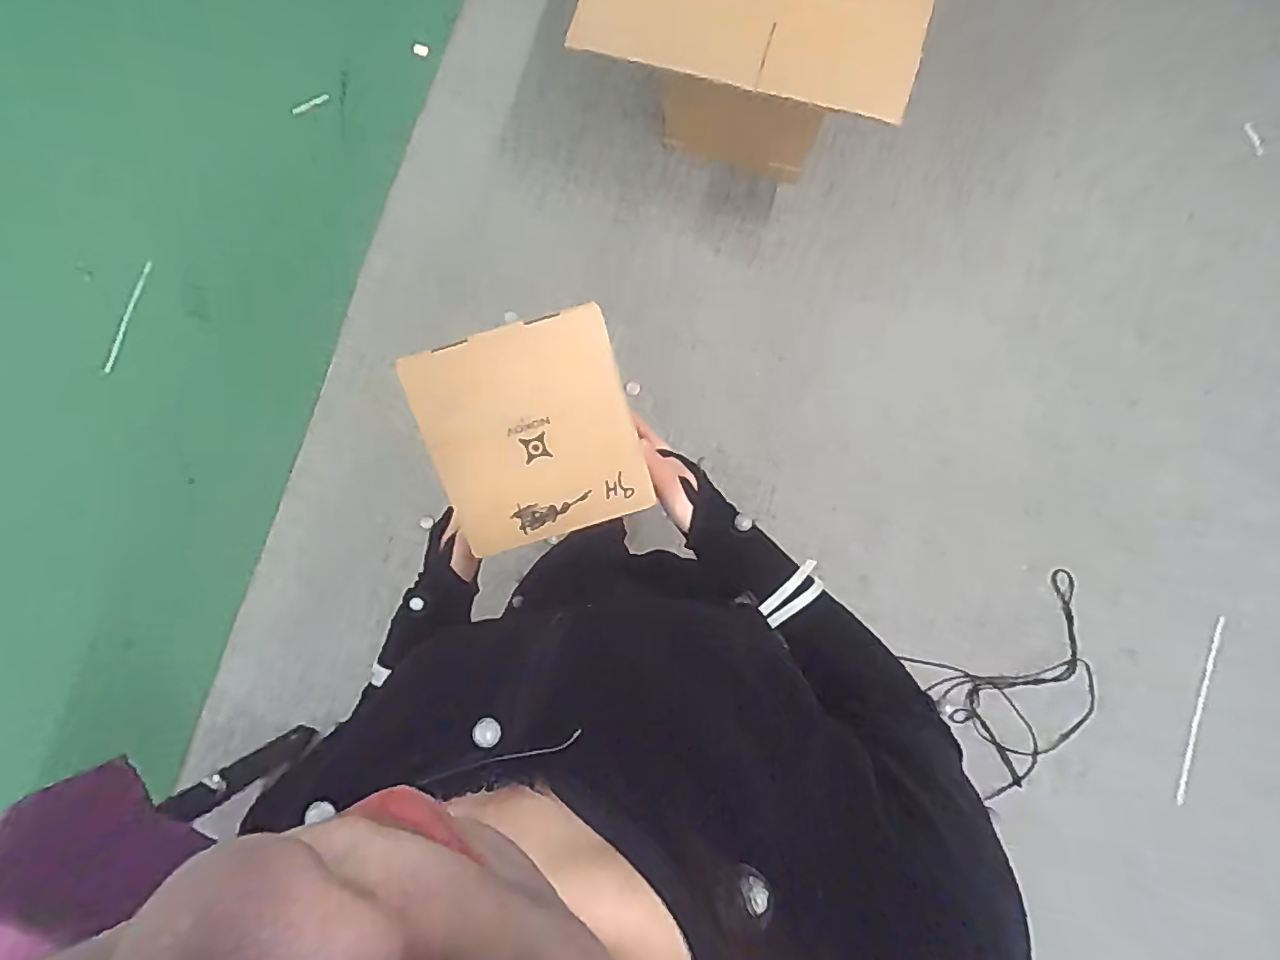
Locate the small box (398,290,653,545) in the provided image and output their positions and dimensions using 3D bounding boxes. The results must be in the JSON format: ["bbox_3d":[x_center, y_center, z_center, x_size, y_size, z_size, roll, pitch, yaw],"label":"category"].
[{"bbox_3d":[-0.094,-0.065,0.515,0.168,0.176,0.179,-16,105,1],"label":"small box"}]
